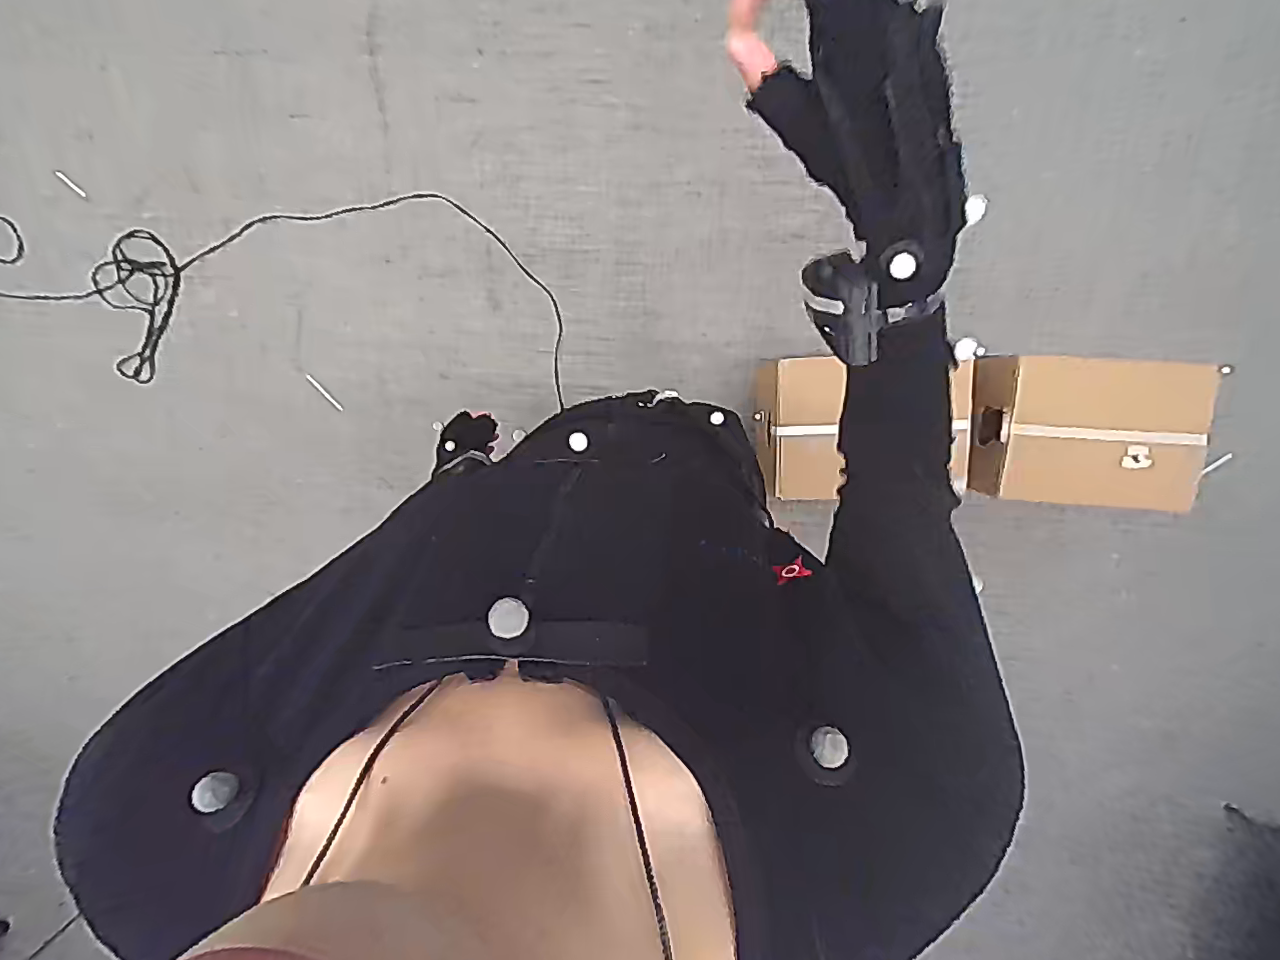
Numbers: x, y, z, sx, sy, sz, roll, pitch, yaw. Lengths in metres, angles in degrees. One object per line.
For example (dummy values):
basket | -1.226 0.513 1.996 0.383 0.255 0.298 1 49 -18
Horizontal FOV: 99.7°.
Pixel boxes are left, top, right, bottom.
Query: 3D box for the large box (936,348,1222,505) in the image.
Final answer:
large box | 0.981 -0.129 1.269 0.408 0.320 0.320 4 99 2
